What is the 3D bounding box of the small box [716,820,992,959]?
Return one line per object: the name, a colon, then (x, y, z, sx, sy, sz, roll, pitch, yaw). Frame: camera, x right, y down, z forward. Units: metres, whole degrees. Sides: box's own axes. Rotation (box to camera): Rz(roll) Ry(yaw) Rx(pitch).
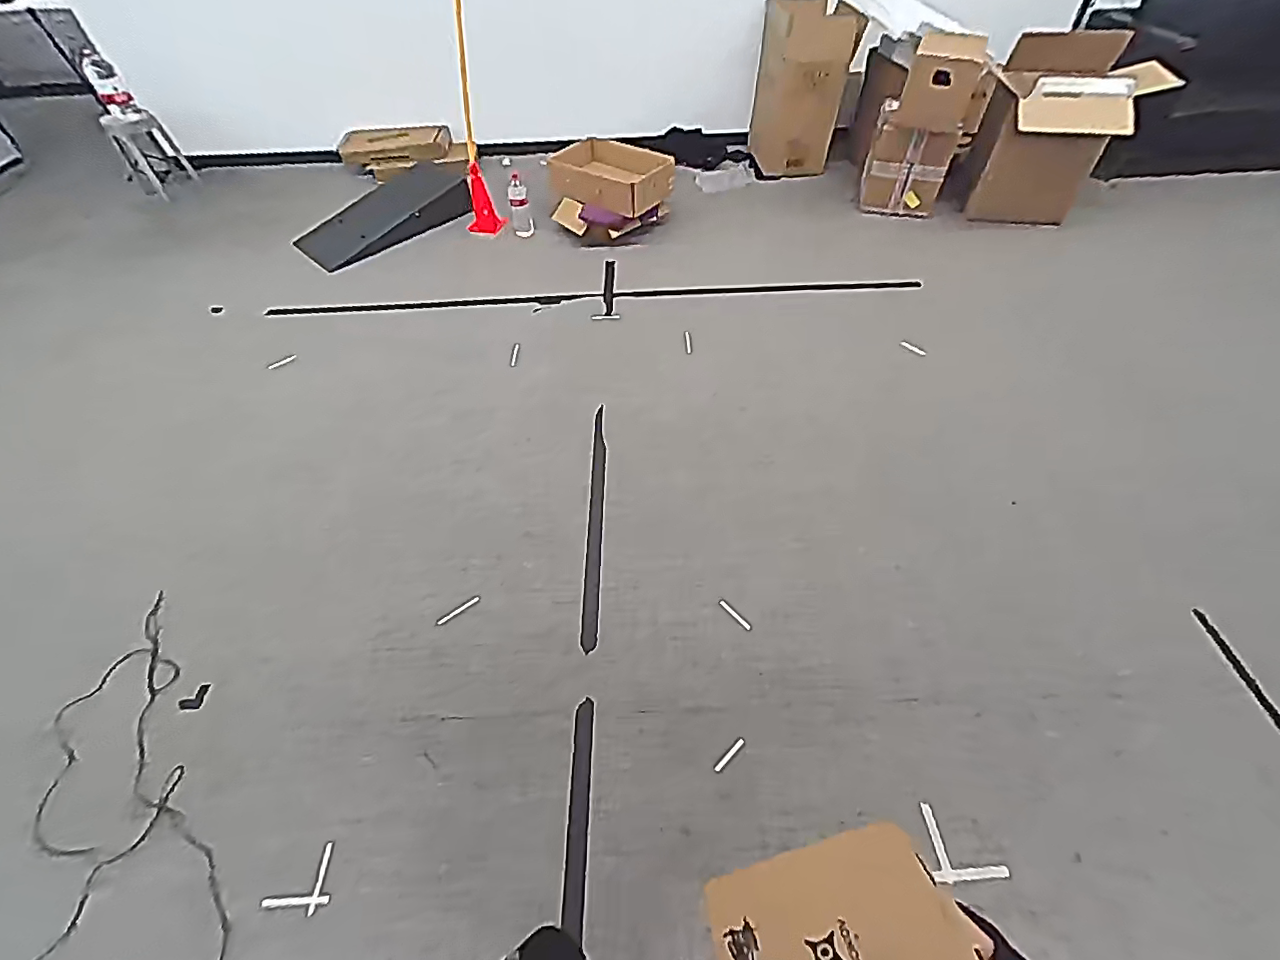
small box: (0.174, 0.412, 0.410, 0.179, 0.176, 0.168, -19, 11, 2)
